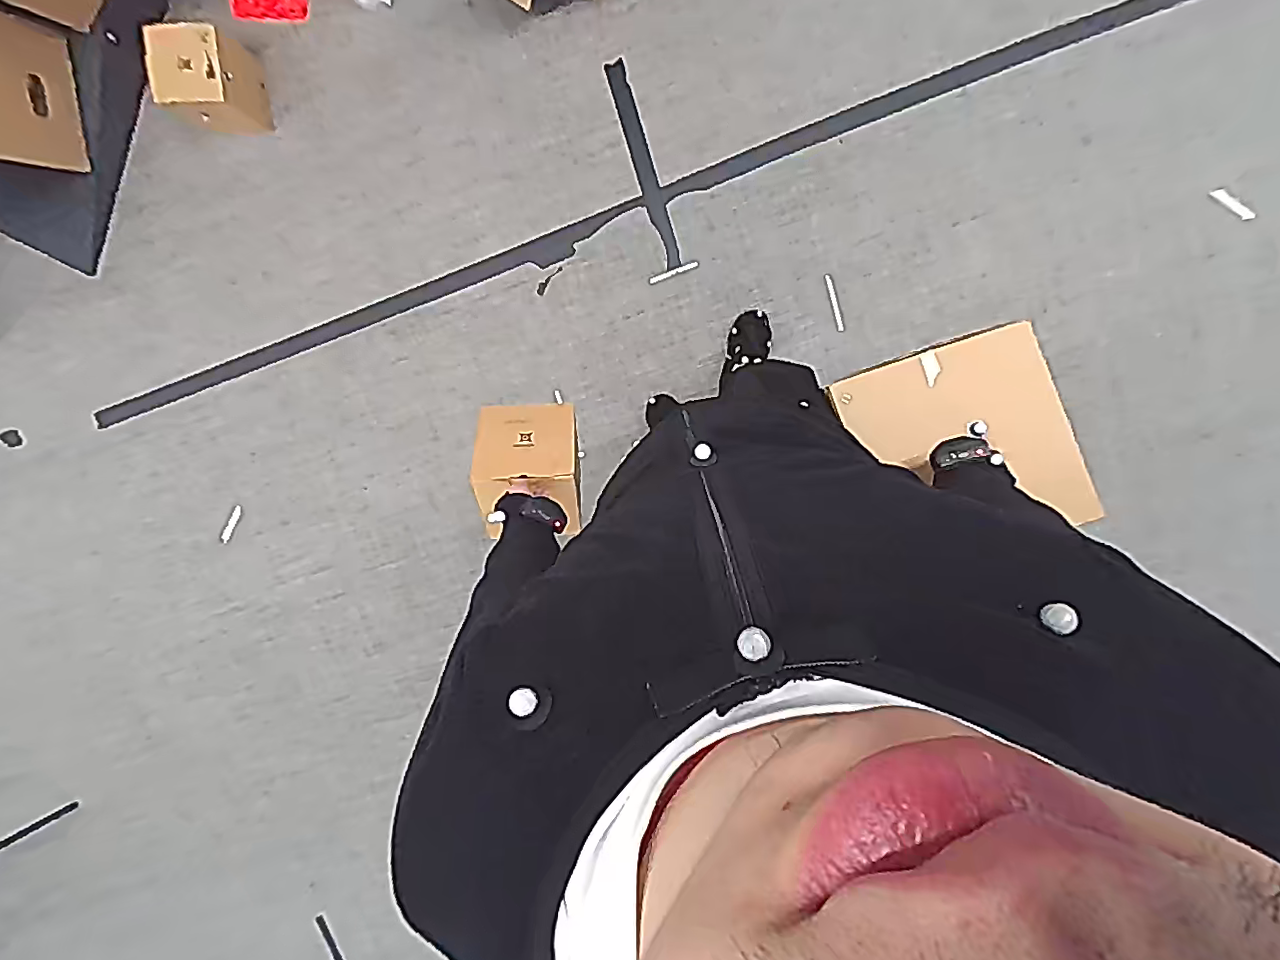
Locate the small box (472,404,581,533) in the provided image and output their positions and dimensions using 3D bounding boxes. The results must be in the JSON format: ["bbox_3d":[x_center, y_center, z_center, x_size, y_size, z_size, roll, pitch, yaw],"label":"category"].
[{"bbox_3d":[-0.194,-0.016,0.979,0.168,0.179,0.176,-2,140,-4],"label":"small box"}]
